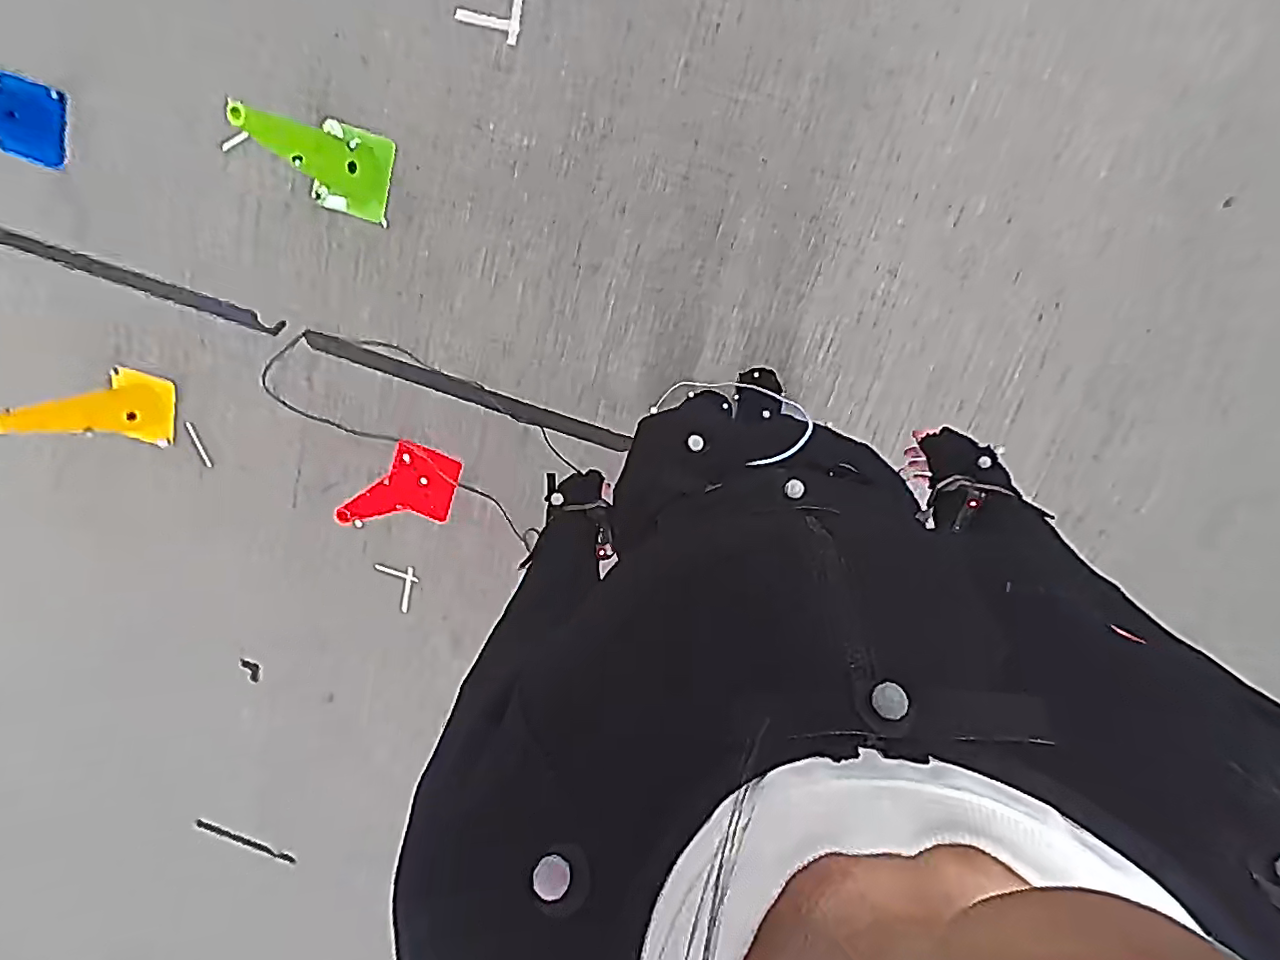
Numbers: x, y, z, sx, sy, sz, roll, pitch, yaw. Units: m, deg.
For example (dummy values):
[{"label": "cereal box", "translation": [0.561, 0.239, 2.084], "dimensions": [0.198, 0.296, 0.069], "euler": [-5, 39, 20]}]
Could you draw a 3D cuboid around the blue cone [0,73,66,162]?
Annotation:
[{"label": "blue cone", "translation": [-1.649, -0.933, 1.288], "dimensions": [0.193, 0.380, 0.192], "euler": [22, 104, 1]}]

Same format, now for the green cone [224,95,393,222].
[{"label": "green cone", "translation": [-0.754, -0.744, 1.205], "dimensions": [0.200, 0.368, 0.202], "euler": [19, 103, 3]}]

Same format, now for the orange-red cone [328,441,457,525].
[{"label": "orange-red cone", "translation": [-0.654, 0.046, 1.378], "dimensions": [0.198, 0.360, 0.199], "euler": [23, 106, 3]}]
